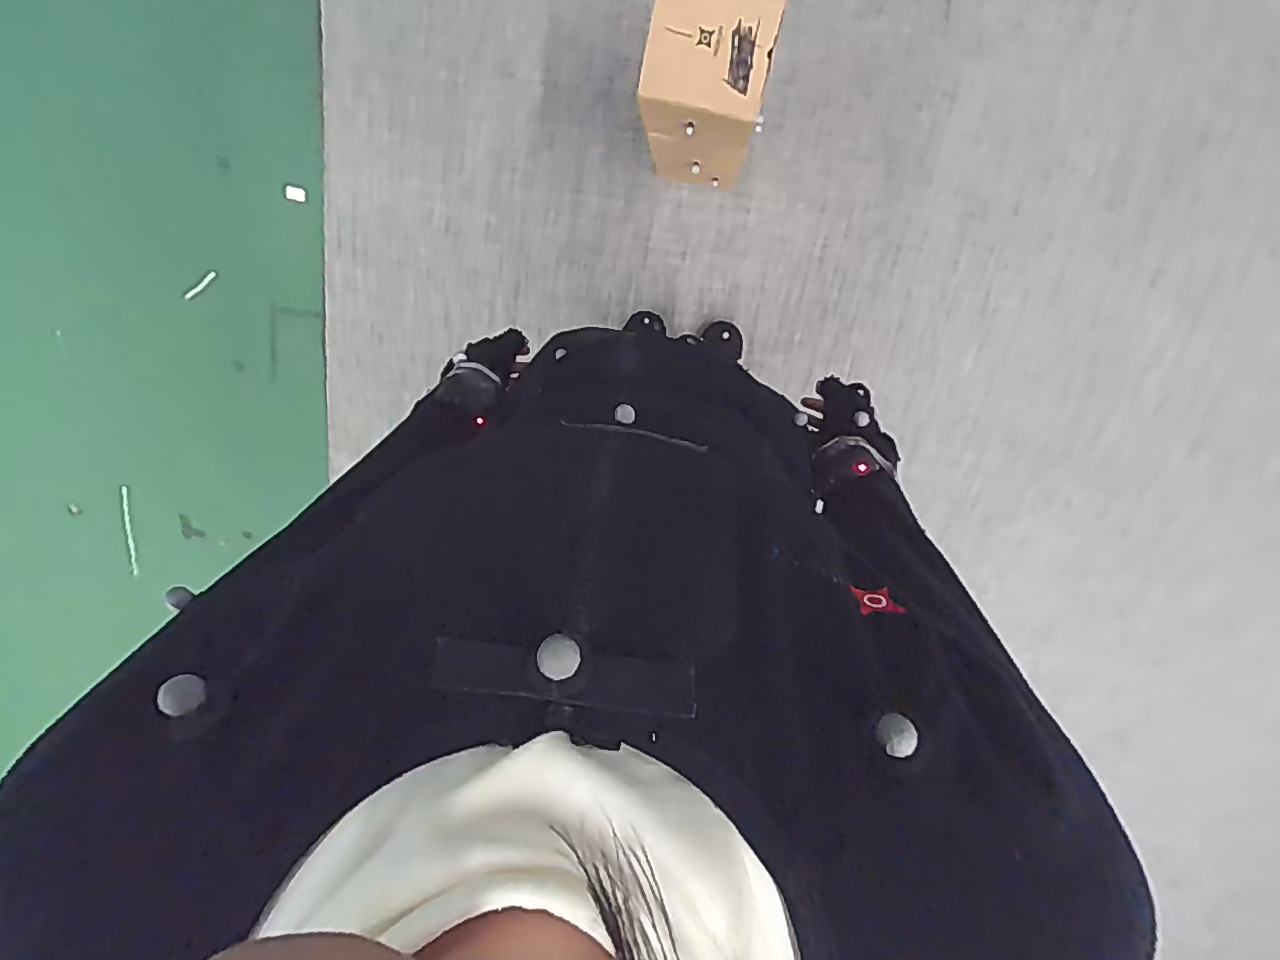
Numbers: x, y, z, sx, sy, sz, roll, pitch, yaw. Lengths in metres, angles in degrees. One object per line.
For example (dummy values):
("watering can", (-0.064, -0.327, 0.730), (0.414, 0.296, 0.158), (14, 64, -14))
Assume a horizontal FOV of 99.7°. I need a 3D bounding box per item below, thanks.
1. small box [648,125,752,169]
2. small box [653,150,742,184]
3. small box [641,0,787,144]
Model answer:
("small box", (0.121, -0.679, 0.974), (0.179, 0.176, 0.168), (13, 108, 1))
("small box", (0.134, -0.732, 1.128), (0.179, 0.176, 0.168), (12, 108, 4))
("small box", (0.106, -0.630, 0.817), (0.179, 0.176, 0.168), (11, 109, 1))
